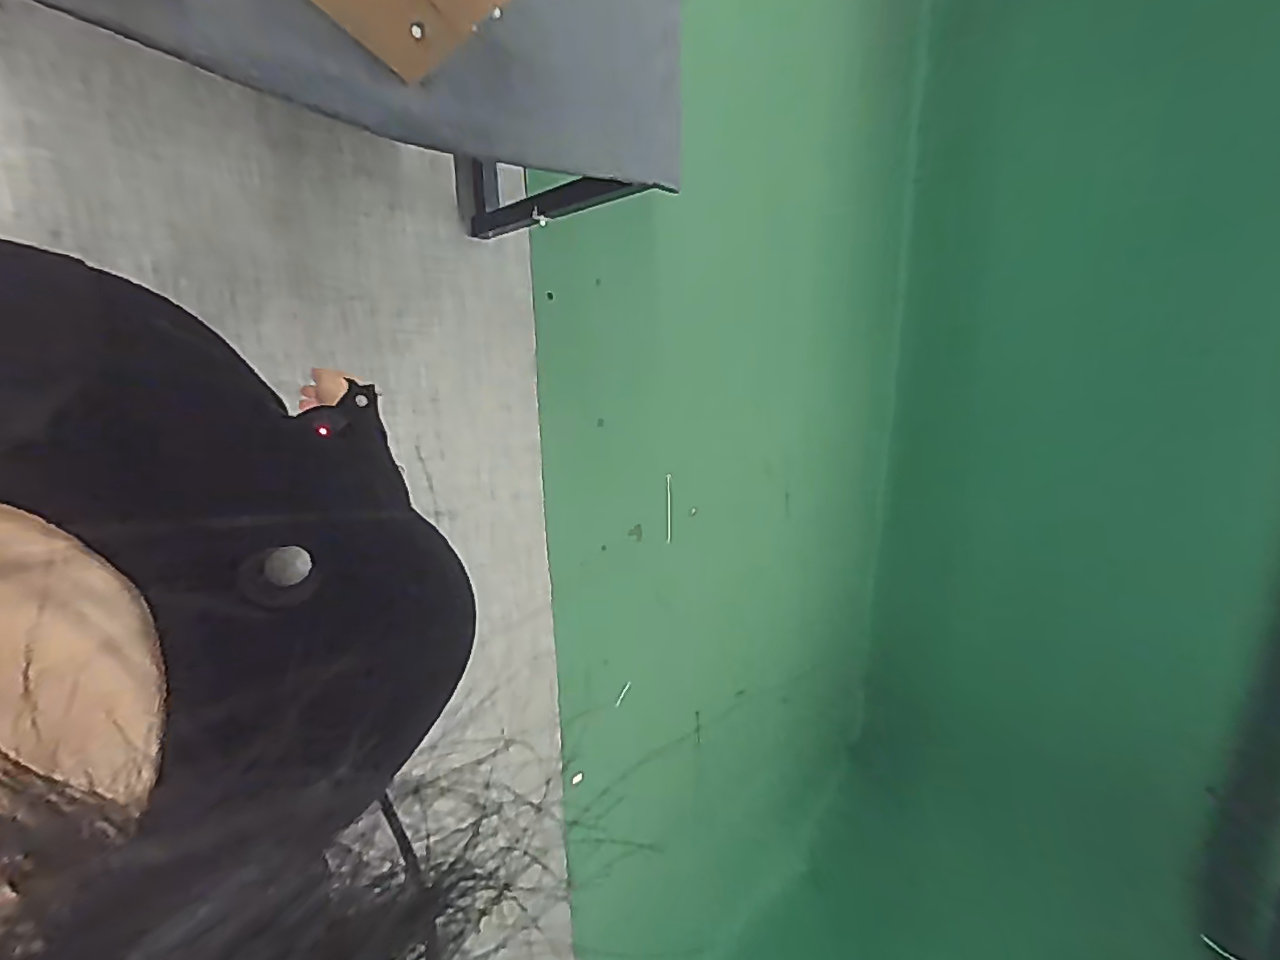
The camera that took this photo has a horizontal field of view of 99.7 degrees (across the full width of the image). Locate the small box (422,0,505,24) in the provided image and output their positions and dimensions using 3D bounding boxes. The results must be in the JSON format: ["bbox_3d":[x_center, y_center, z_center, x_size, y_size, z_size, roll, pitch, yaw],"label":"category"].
[{"bbox_3d":[-0.165,-0.580,0.502,0.179,0.176,0.168,33,73,-44],"label":"small box"}]
